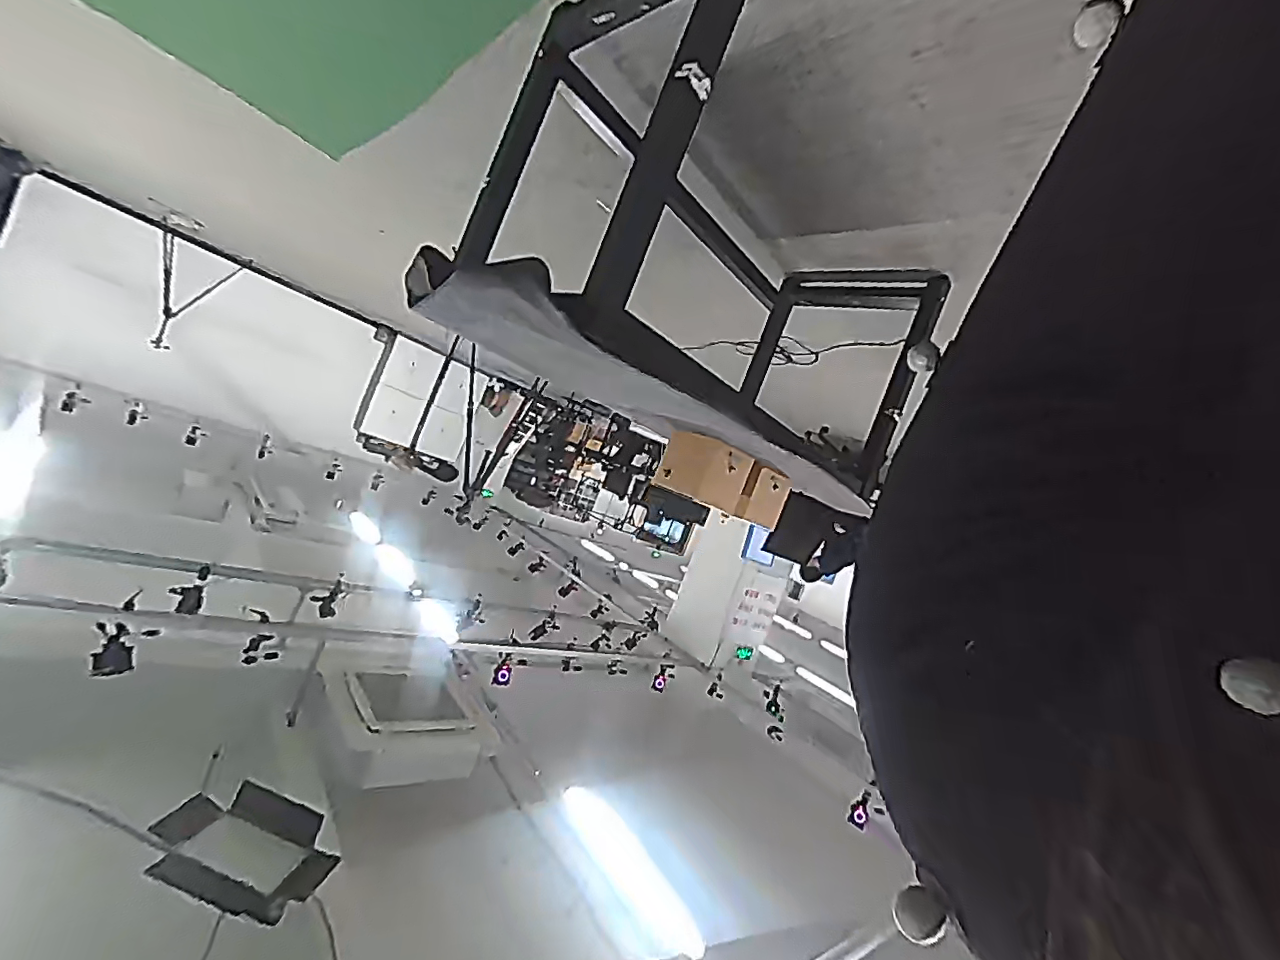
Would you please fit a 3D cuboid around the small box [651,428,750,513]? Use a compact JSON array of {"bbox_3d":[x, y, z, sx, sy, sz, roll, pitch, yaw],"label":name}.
[{"bbox_3d":[0.167,-0.030,1.470,0.168,0.176,0.179,22,180,-42],"label":"small box"}]
